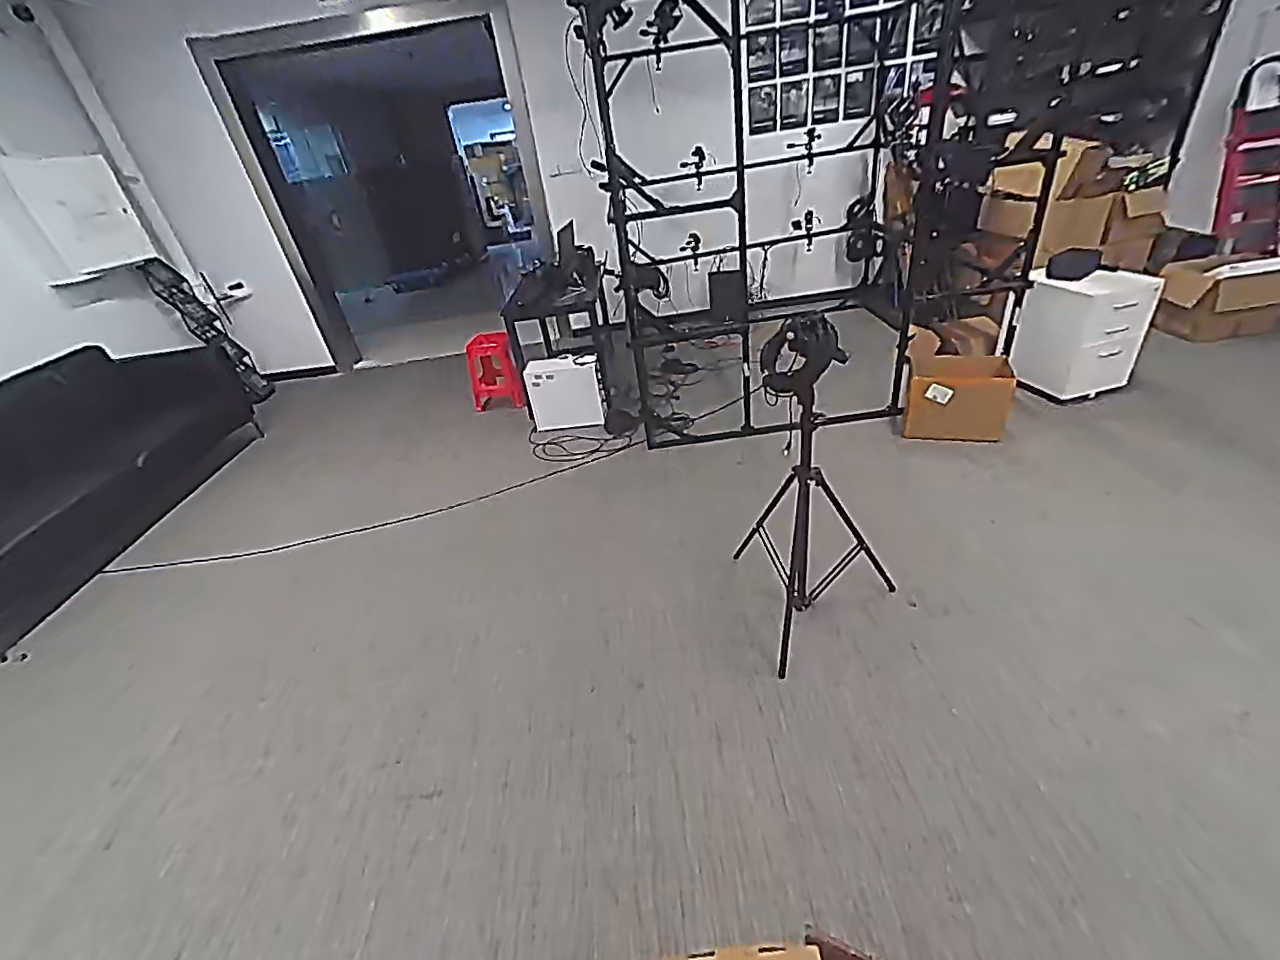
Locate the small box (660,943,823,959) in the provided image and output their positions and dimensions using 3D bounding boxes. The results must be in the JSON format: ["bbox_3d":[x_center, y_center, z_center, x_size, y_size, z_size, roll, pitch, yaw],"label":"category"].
[{"bbox_3d":[0.109,0.588,0.515,0.168,0.176,0.179,-7,31,3],"label":"small box"}]
